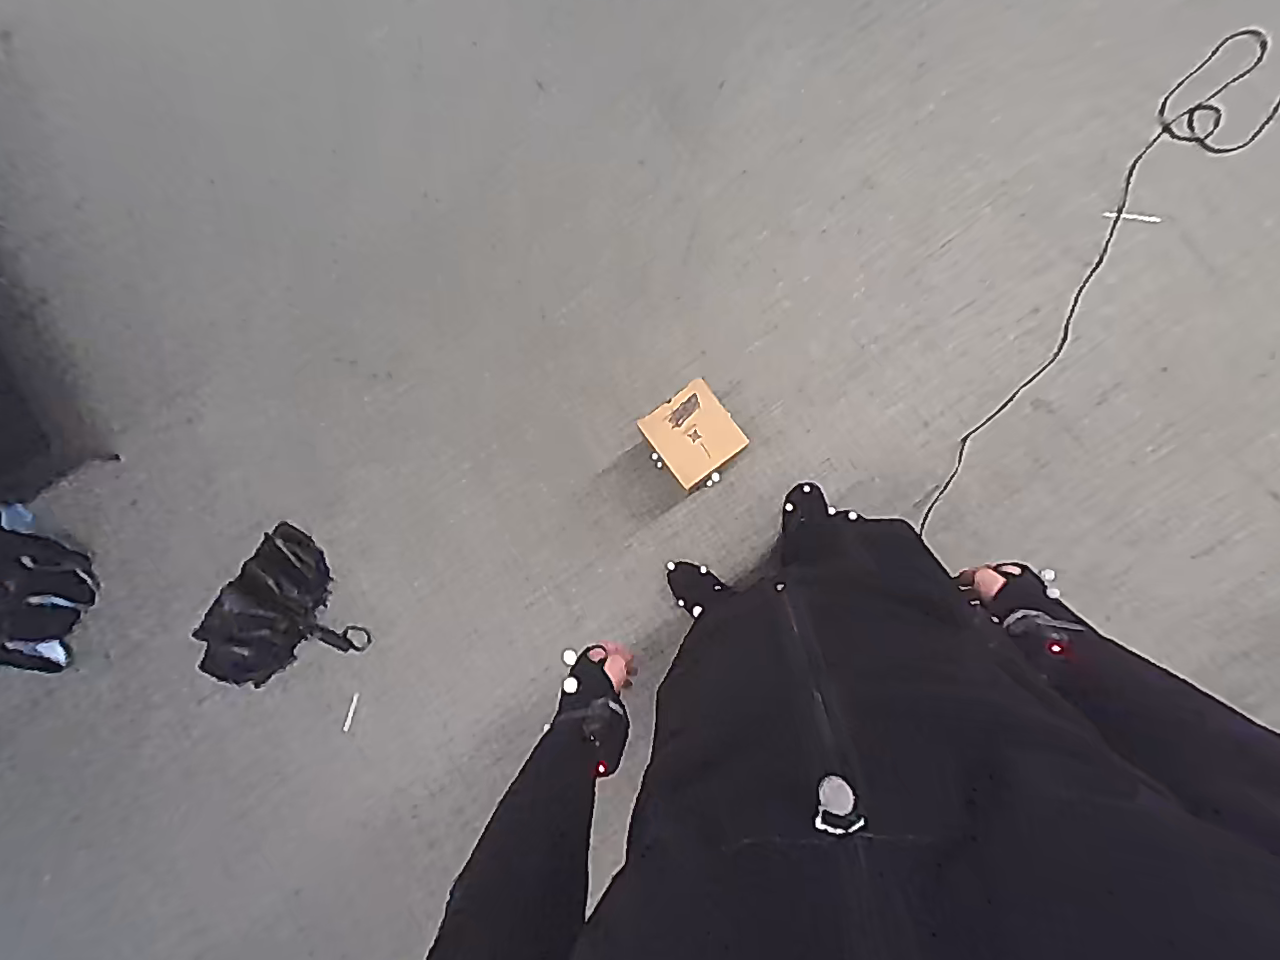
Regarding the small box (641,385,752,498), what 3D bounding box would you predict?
[{"bbox_3d":[0.120,-0.074,1.189,0.168,0.176,0.179,-37,83,1],"label":"small box"}]
